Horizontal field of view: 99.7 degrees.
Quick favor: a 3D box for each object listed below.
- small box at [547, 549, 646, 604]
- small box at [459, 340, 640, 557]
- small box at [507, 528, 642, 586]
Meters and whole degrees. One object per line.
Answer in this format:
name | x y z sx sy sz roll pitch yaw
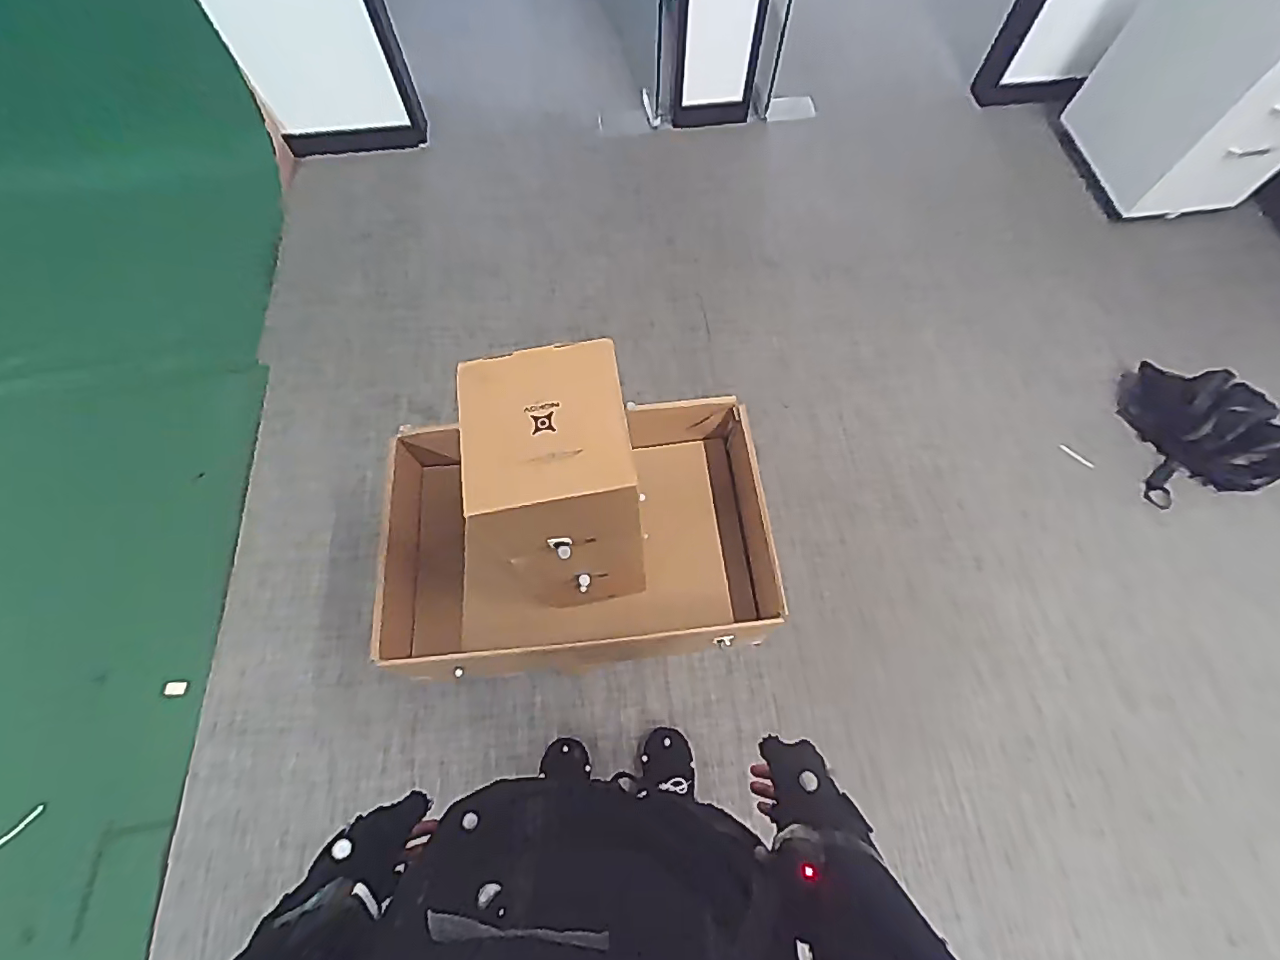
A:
small box | -0.086 0.096 0.915 0.168 0.176 0.179 -11 66 -2
small box | -0.095 -0.028 0.615 0.168 0.176 0.179 -11 68 -2
small box | -0.092 0.036 0.763 0.168 0.176 0.179 -10 67 -3
